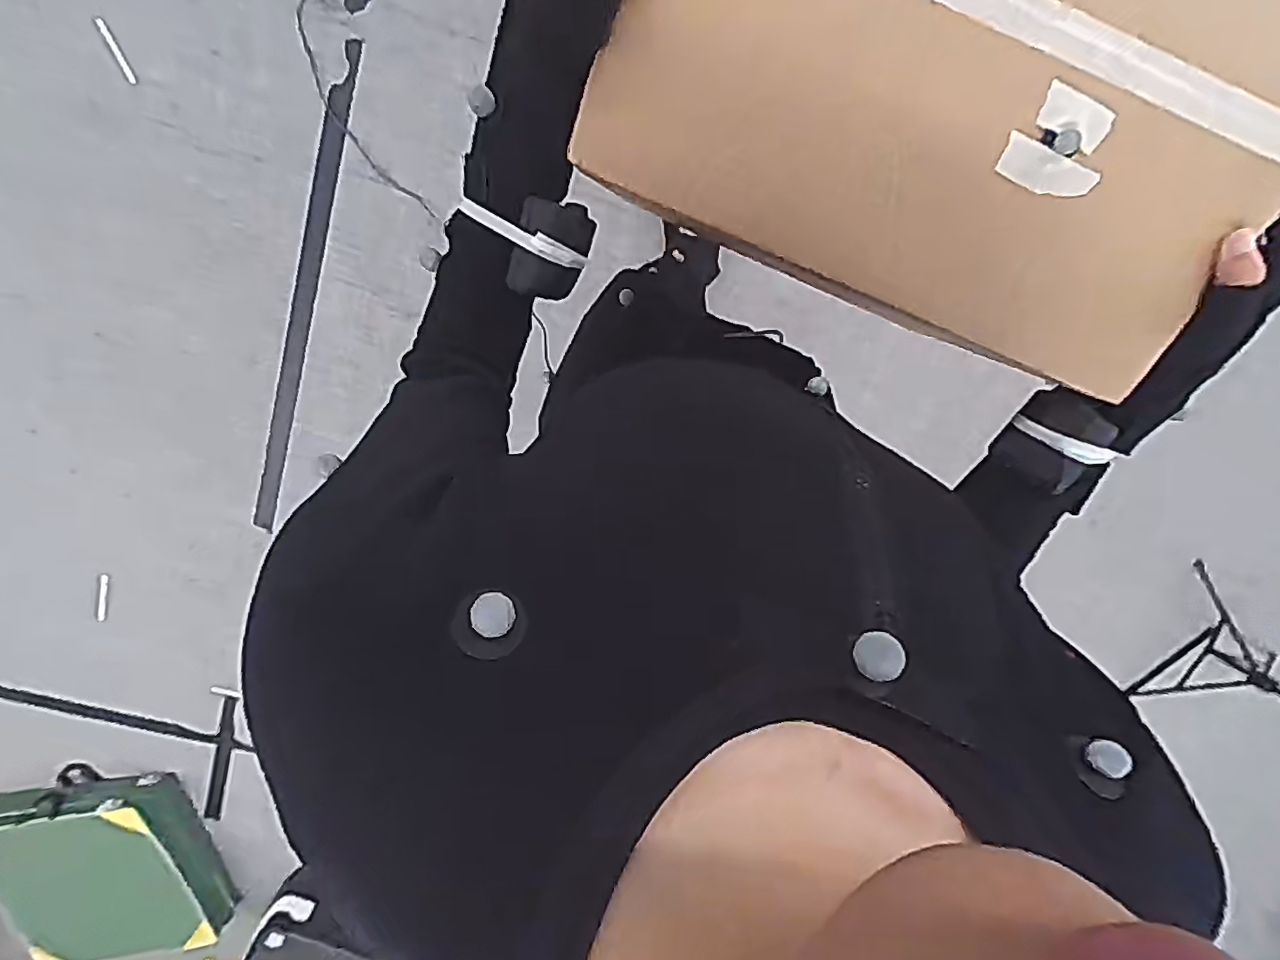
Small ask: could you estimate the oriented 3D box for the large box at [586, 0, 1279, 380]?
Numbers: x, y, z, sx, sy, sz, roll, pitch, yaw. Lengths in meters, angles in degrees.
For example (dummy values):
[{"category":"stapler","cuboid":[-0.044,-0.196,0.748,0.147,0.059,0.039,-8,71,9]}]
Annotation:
[{"category":"large box","cuboid":[0.209,-0.326,0.446,0.408,0.320,0.320,22,114,-5]}]
